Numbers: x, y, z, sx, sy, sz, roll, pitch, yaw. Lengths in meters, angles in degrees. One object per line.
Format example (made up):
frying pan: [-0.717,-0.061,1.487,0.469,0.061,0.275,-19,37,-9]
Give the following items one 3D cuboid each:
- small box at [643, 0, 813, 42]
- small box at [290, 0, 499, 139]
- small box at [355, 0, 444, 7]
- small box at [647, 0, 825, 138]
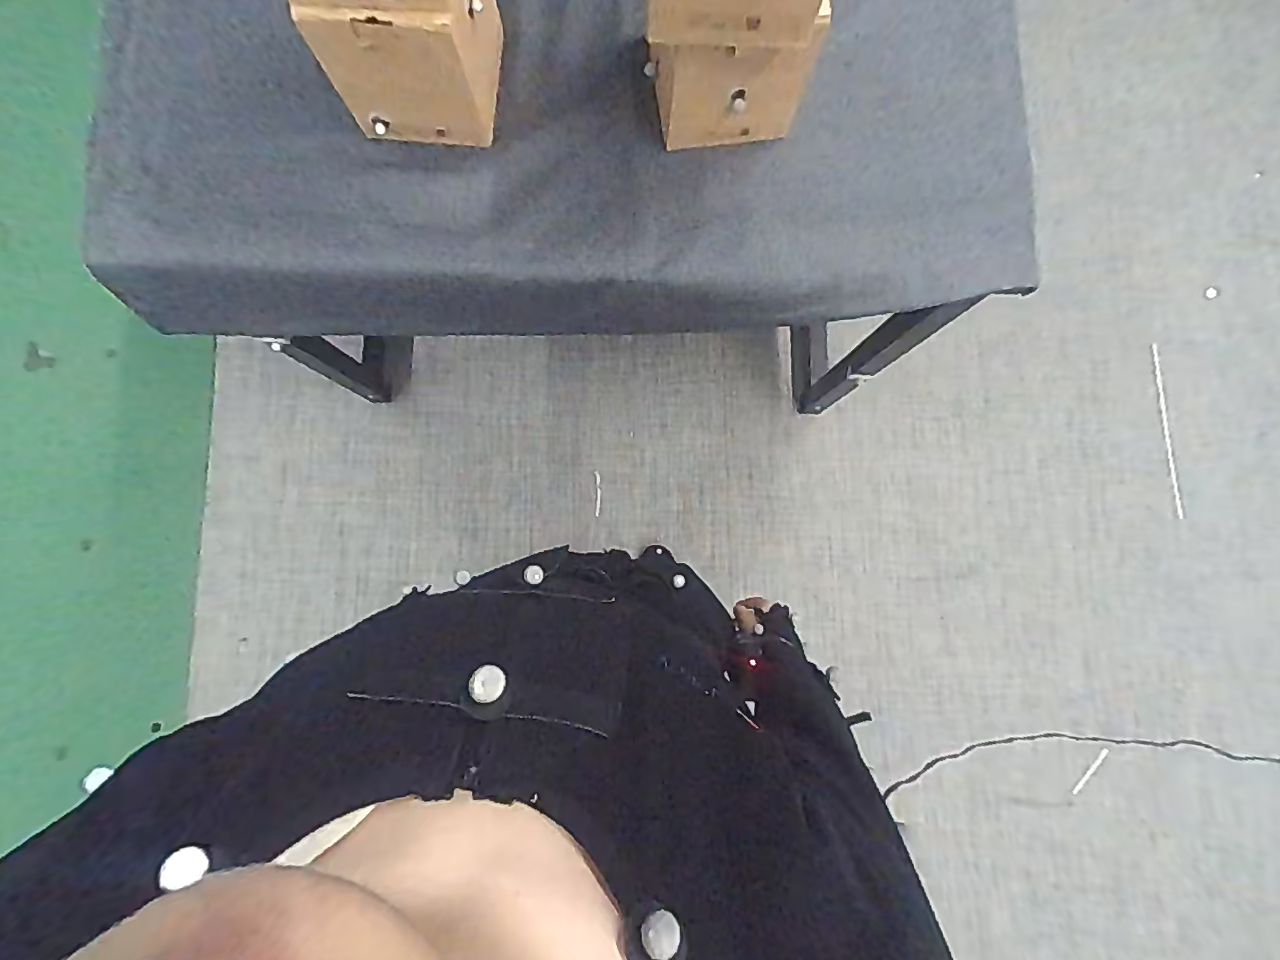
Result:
small box: [0.089,-0.542,0.485,0.168,0.176,0.179,2,82,-2]
small box: [-0.271,-0.543,0.639,0.168,0.176,0.179,4,82,-1]
small box: [-0.268,-0.579,0.478,0.168,0.176,0.179,2,83,-1]
small box: [0.102,-0.546,0.650,0.168,0.176,0.179,-8,84,-3]
